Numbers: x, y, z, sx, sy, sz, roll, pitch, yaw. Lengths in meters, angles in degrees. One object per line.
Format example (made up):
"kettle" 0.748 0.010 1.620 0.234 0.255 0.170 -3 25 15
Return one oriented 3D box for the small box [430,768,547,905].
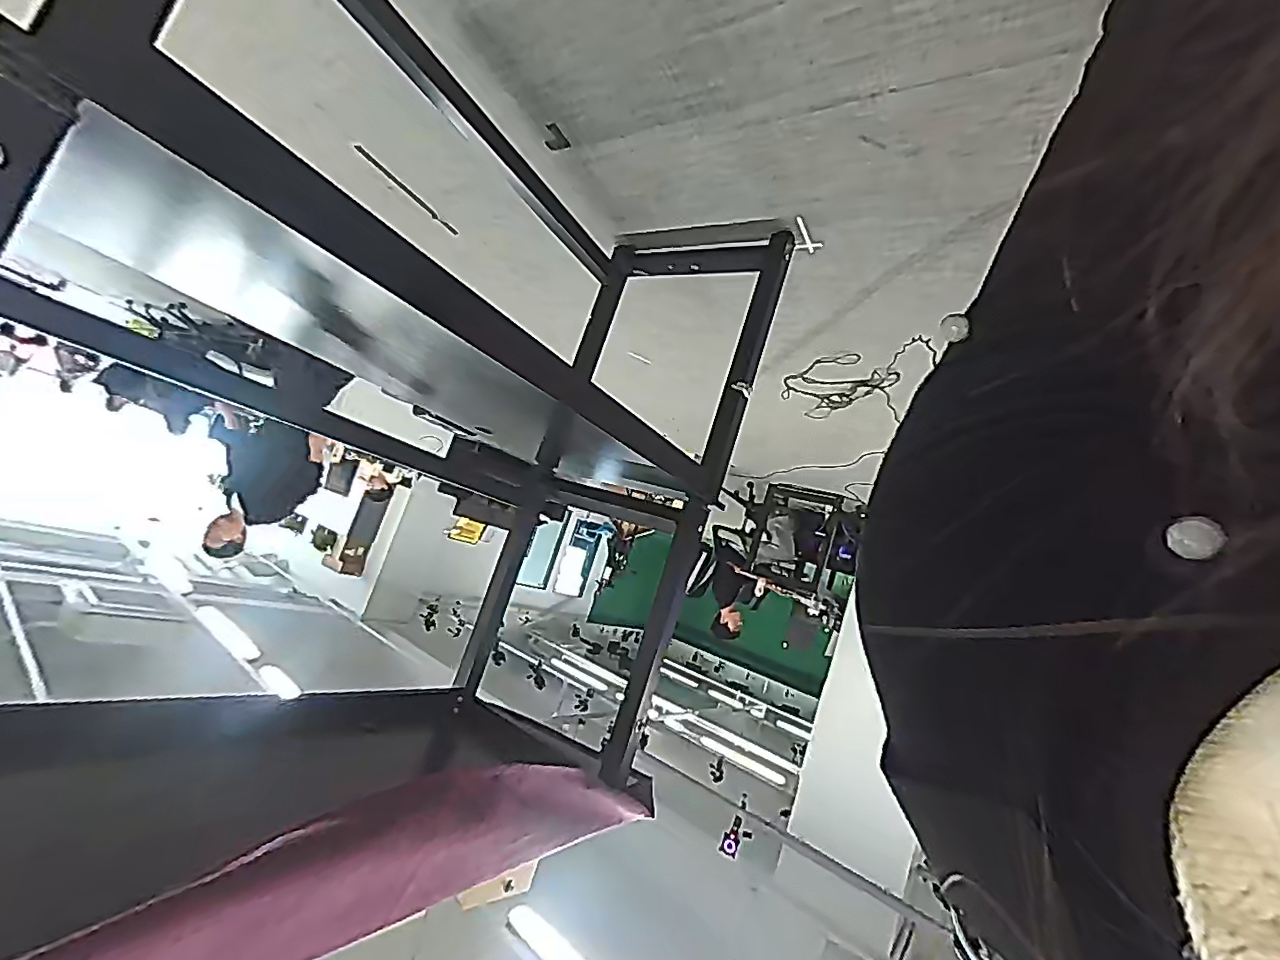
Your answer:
"small box" -0.323 0.730 1.135 0.179 0.176 0.168 12 170 43
